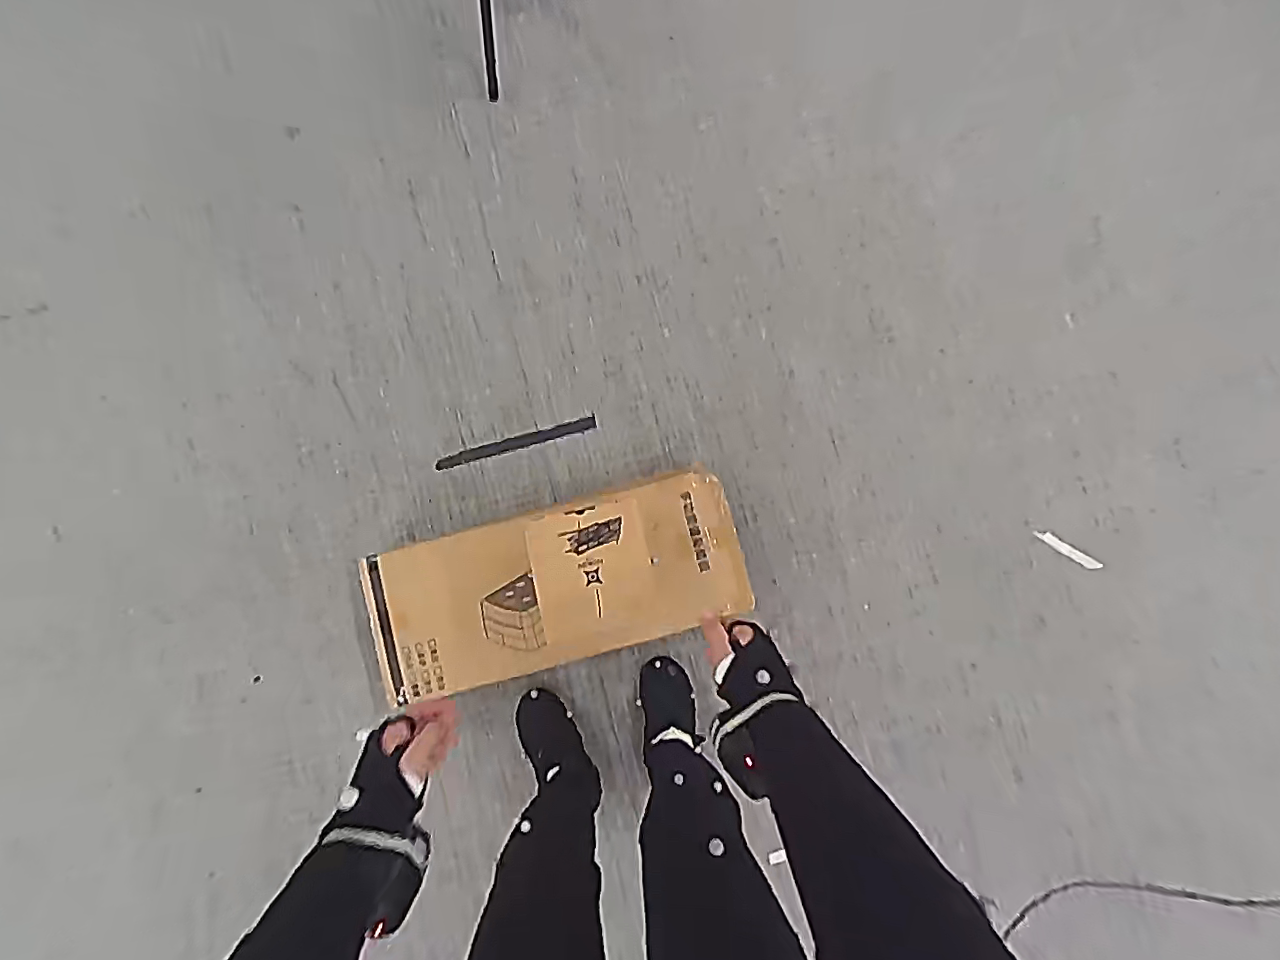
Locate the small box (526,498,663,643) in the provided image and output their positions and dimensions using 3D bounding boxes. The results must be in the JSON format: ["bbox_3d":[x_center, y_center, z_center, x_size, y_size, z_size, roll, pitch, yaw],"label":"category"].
[{"bbox_3d":[-0.067,0.134,0.829,0.168,0.176,0.179,-12,85,-3],"label":"small box"}]
